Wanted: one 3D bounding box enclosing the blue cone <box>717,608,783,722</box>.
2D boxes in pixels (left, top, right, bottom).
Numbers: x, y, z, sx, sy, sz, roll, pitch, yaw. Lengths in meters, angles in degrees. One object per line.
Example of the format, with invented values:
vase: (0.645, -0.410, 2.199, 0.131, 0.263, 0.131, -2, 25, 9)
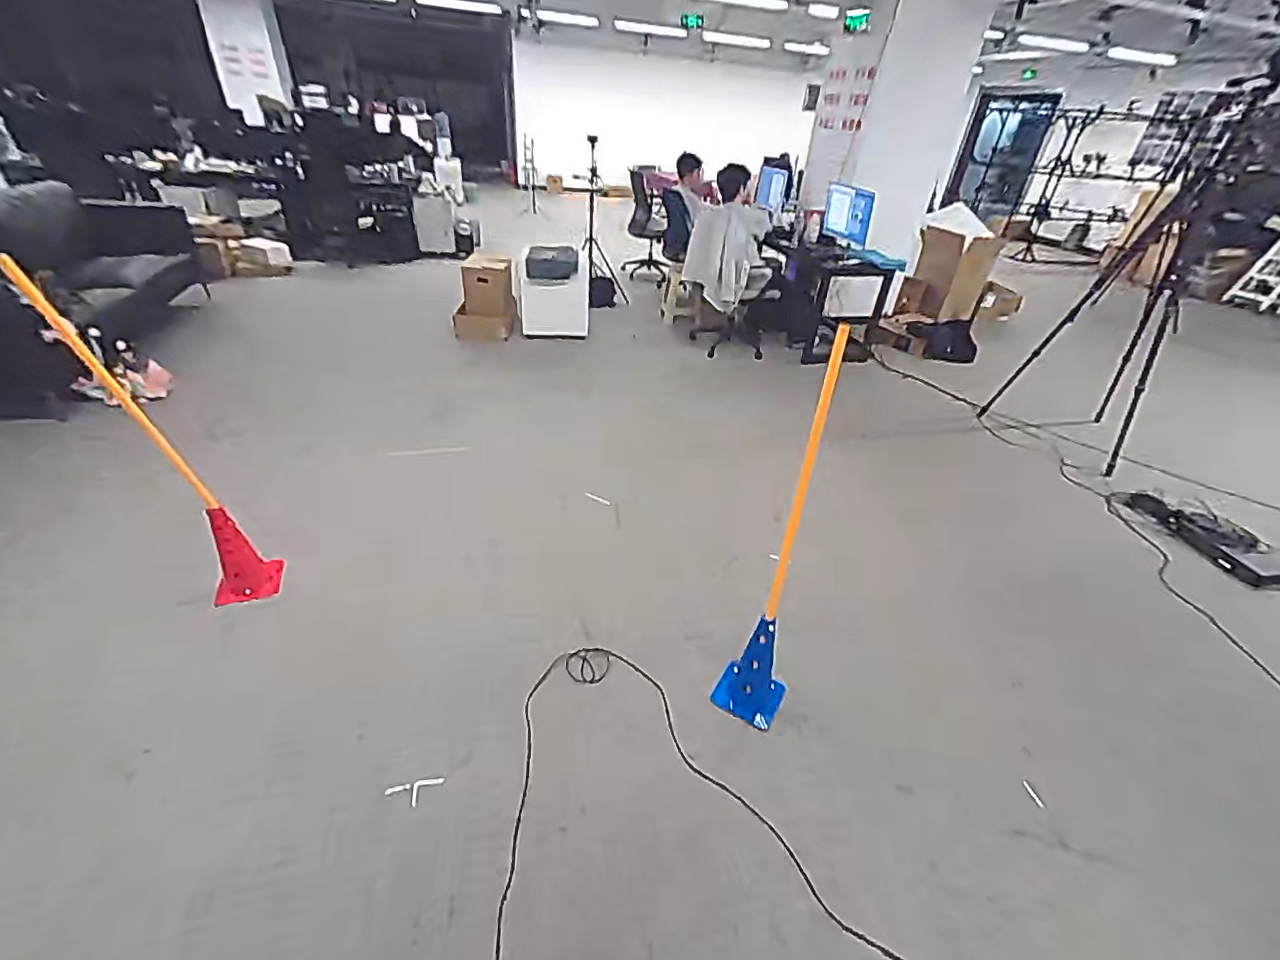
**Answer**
blue cone: (0.369, 0.539, 1.667, 0.192, 0.380, 0.193, 21, 35, 23)
